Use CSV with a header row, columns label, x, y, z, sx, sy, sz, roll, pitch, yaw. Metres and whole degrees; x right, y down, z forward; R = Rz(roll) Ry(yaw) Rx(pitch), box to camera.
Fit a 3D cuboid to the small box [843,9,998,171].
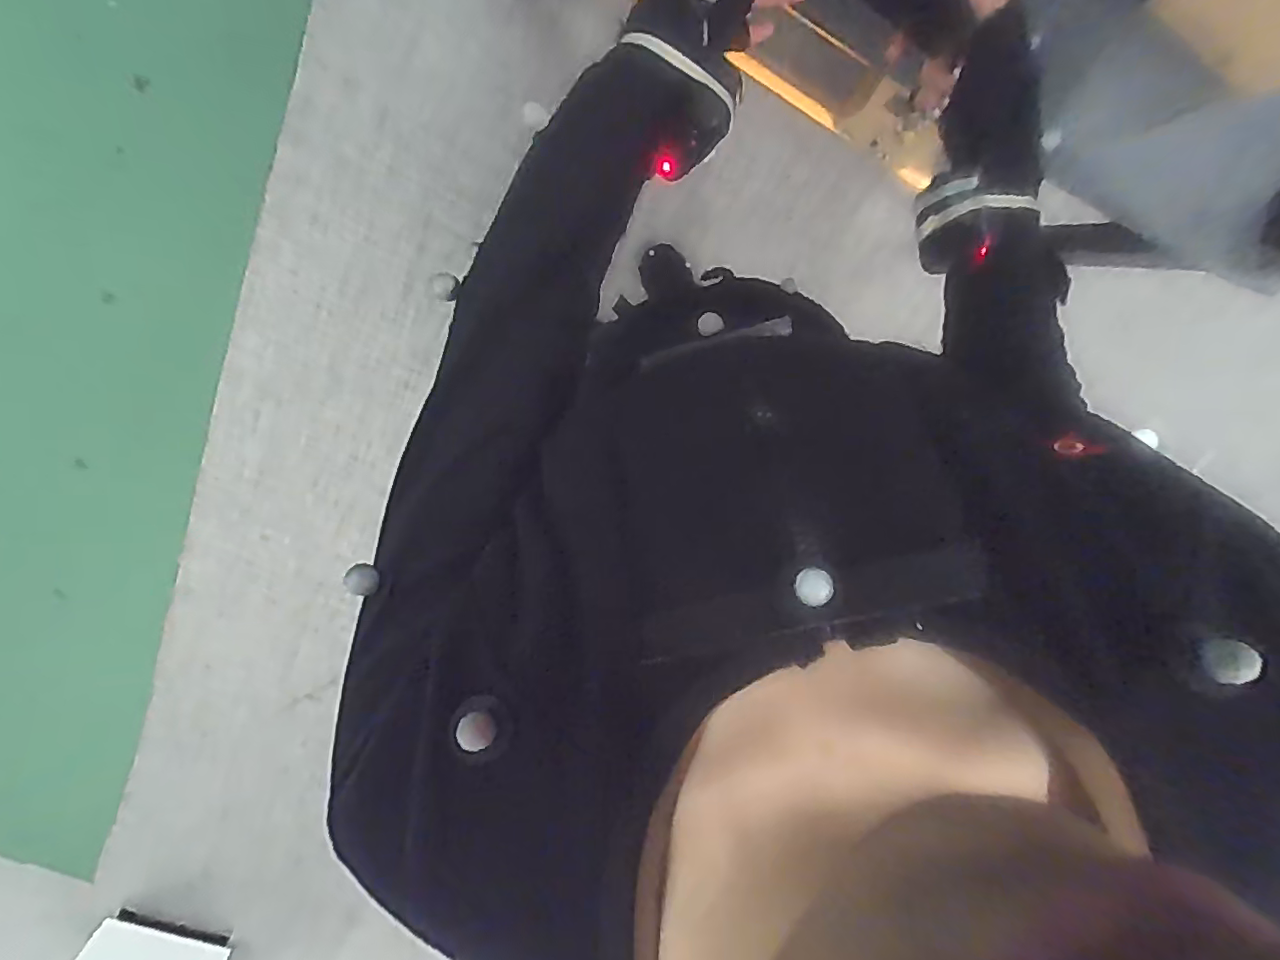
label,x,y,z,sx,sy,sz,roll,pitch,yaw
small box,0.515,-0.720,1.028,0.168,0.176,0.179,29,110,-13
